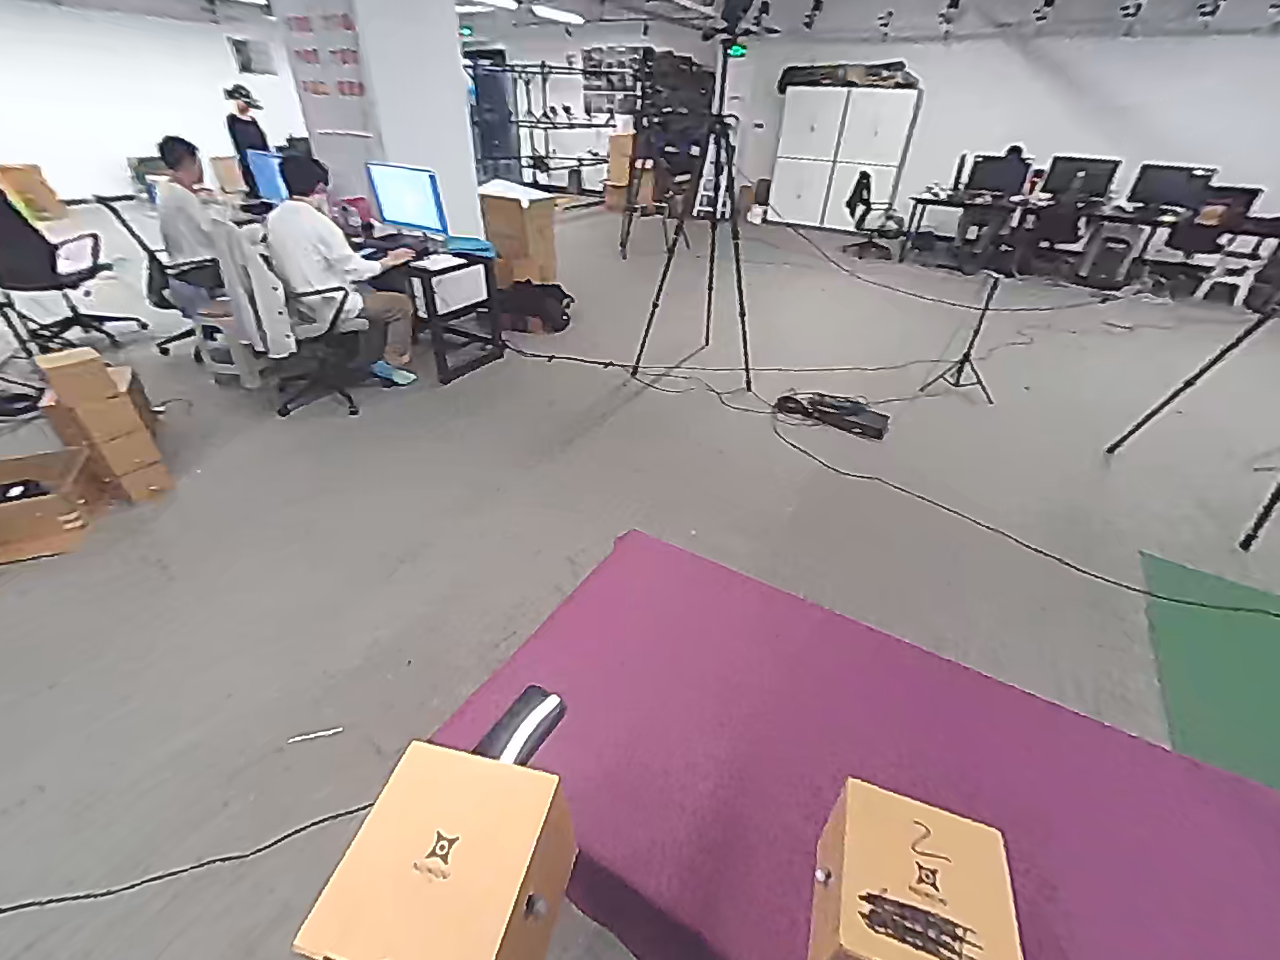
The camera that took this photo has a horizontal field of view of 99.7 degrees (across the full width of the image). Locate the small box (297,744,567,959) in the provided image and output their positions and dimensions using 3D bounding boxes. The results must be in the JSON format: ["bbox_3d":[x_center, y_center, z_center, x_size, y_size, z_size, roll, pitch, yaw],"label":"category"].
[{"bbox_3d":[-0.178,0.400,0.530,0.168,0.176,0.179,7,38,12],"label":"small box"}]
